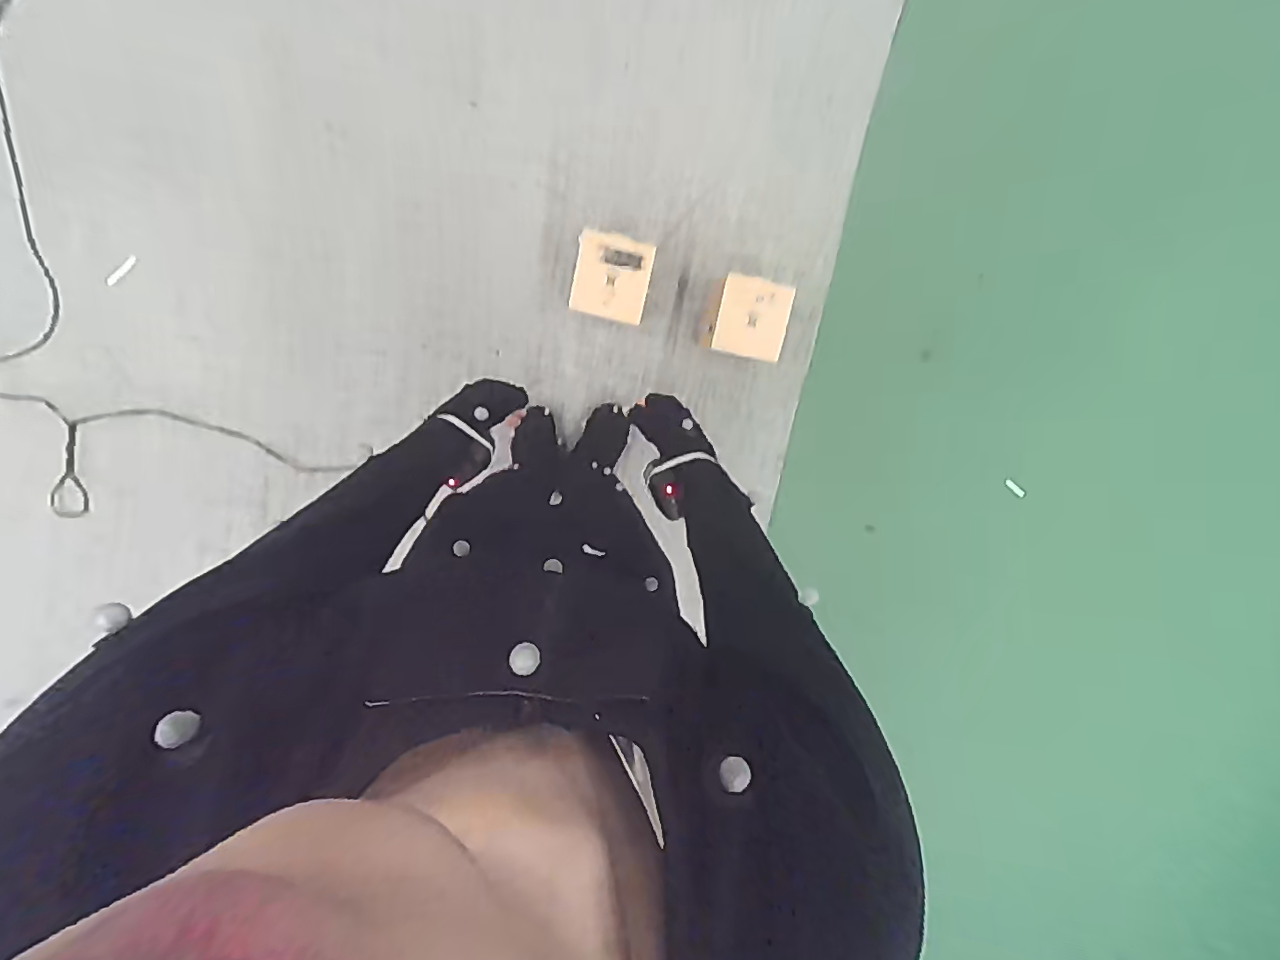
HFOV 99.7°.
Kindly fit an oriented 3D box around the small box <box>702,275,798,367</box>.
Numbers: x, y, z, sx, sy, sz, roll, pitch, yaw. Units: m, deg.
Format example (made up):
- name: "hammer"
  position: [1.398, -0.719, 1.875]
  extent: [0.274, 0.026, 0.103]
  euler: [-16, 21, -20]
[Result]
- name: "small box"
  position: [0.256, -0.377, 1.306]
  extent: [0.168, 0.176, 0.179]
  euler: [10, 102, -8]
